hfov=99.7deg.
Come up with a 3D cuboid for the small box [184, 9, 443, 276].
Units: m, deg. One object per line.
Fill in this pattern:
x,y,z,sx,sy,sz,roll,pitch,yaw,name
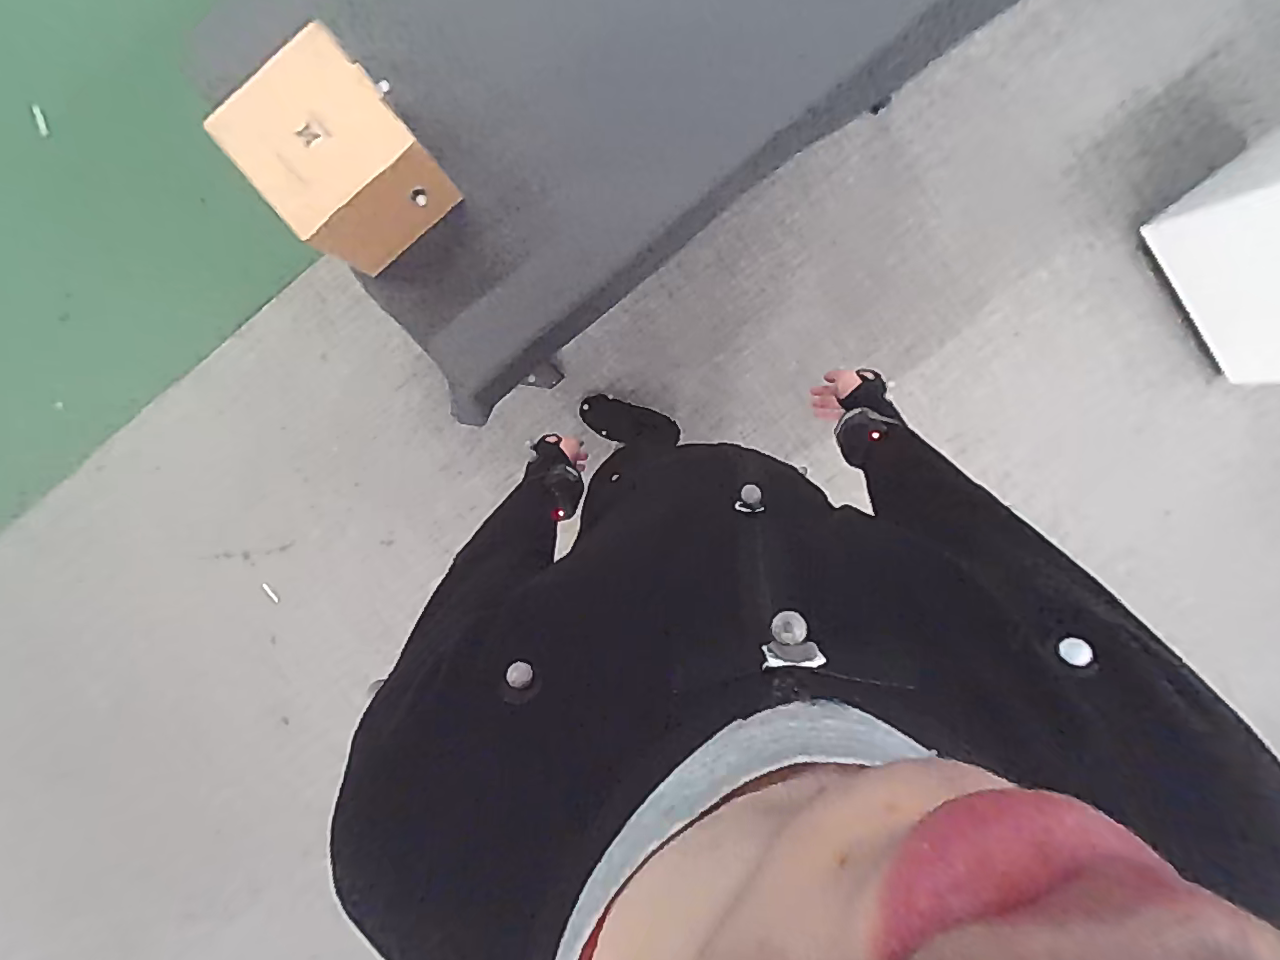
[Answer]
-0.362,-0.378,0.645,0.179,0.176,0.168,-41,96,3,small box
